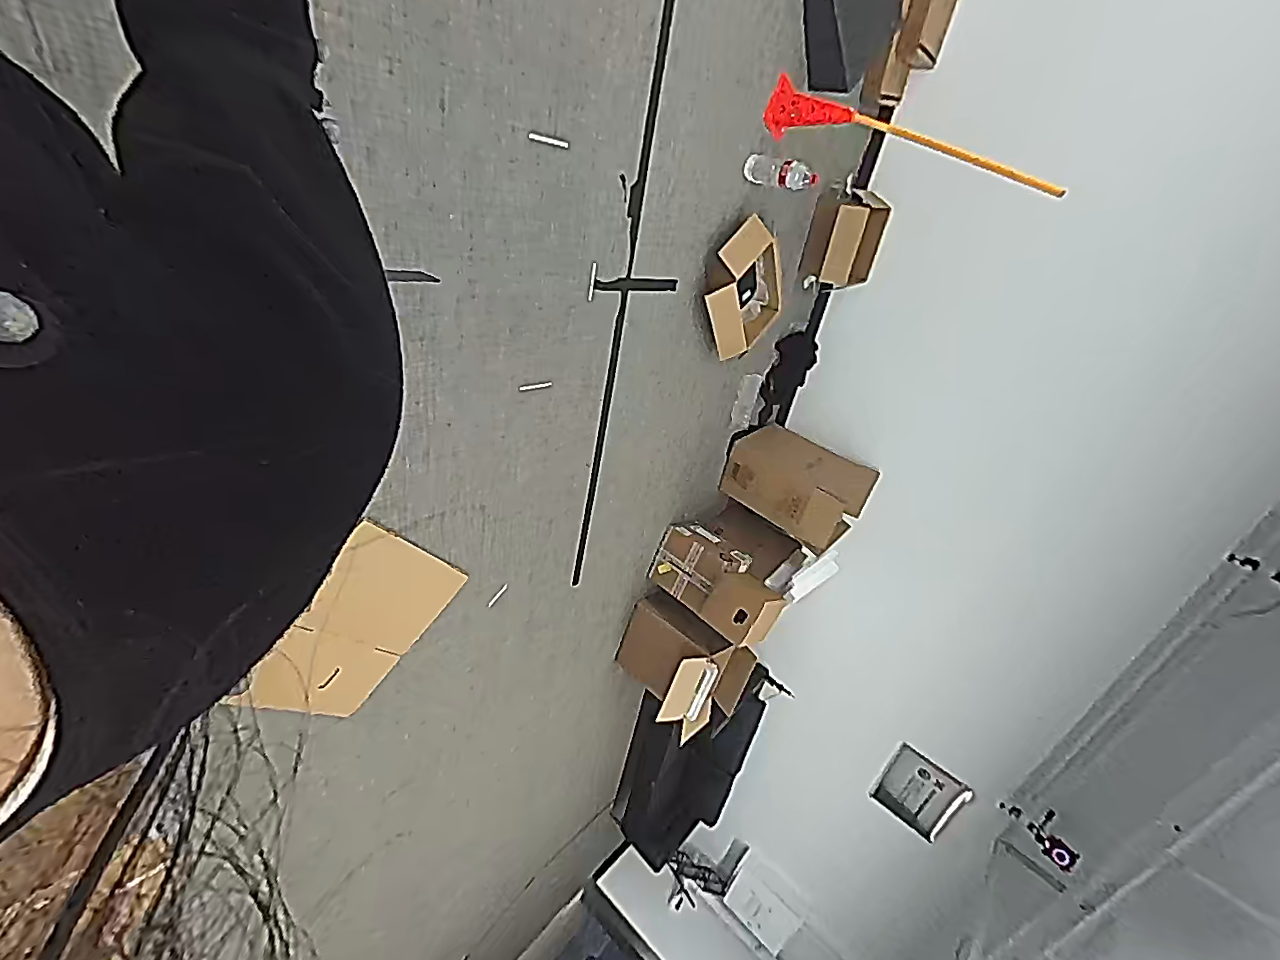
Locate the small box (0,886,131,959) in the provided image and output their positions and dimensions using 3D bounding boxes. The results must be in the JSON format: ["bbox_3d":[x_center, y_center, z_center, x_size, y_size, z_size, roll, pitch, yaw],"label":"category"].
[{"bbox_3d":[-1.306,1.077,1.226,0.168,0.176,0.179,-25,136,-43],"label":"small box"}]
